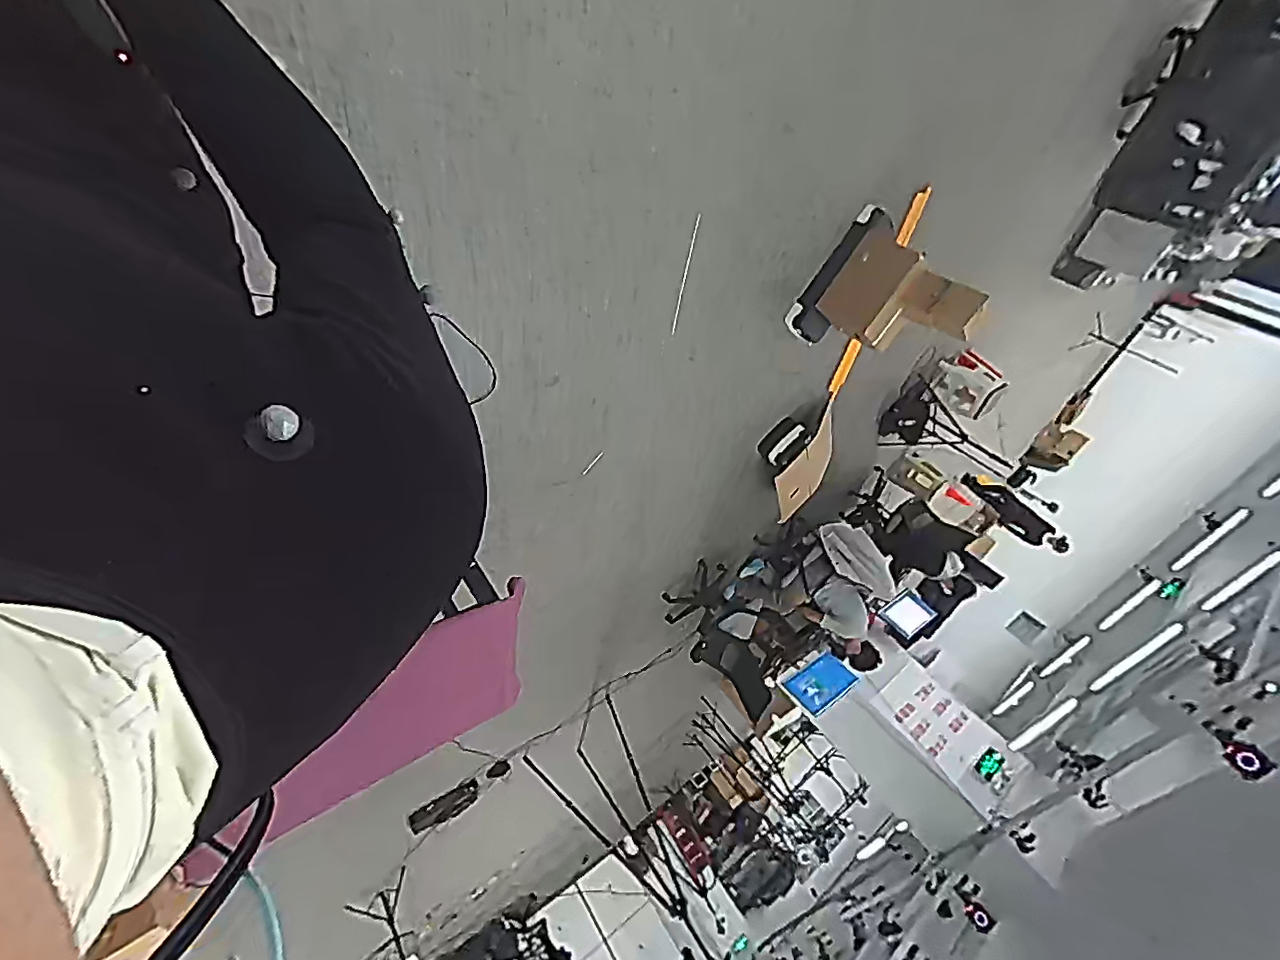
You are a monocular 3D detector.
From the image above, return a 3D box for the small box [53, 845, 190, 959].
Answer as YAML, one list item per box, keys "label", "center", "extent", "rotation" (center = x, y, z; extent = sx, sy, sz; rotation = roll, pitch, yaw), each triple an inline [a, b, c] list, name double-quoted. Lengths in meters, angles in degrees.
- label: "small box"
  center: [-1.172, 0.985, 1.229]
  extent: [0.179, 0.176, 0.168]
  rotation: [-24, 142, -30]
